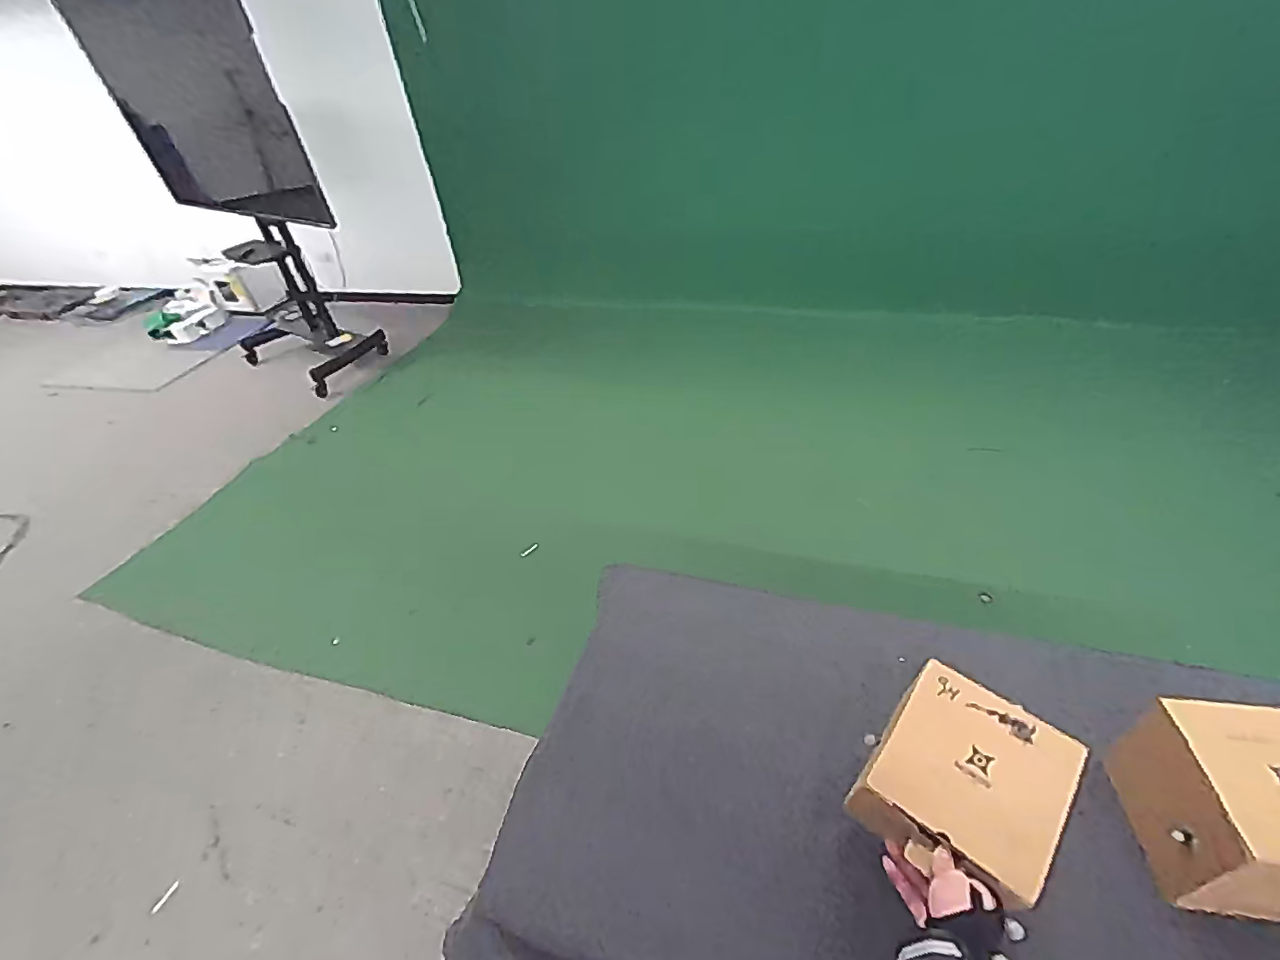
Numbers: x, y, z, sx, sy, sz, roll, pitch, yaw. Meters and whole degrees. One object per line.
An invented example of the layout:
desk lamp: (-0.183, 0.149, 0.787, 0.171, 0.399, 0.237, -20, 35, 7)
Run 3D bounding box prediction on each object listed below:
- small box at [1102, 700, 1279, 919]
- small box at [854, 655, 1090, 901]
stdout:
small box: (0.710, 0.392, 0.640, 0.168, 0.176, 0.179, 3, 39, 9)
small box: (0.370, 0.349, 0.633, 0.168, 0.176, 0.179, 30, 63, 30)
